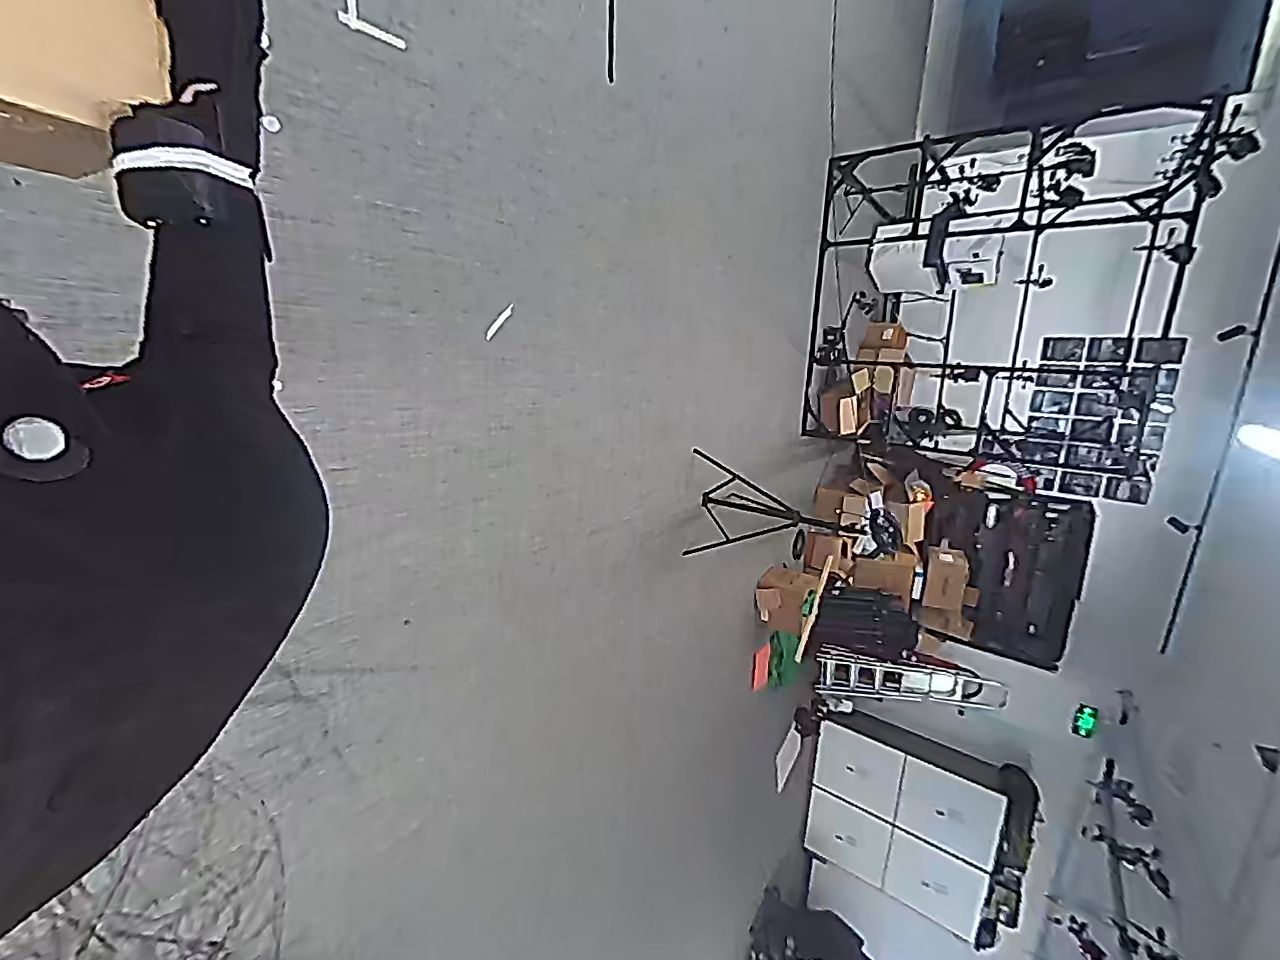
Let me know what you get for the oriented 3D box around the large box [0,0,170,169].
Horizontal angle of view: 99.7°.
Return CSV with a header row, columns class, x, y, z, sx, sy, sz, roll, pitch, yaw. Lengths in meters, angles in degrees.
class,x,y,z,sx,sy,sz,roll,pitch,yaw
large box,-0.565,-0.410,0.289,0.408,0.320,0.320,-9,113,-54
